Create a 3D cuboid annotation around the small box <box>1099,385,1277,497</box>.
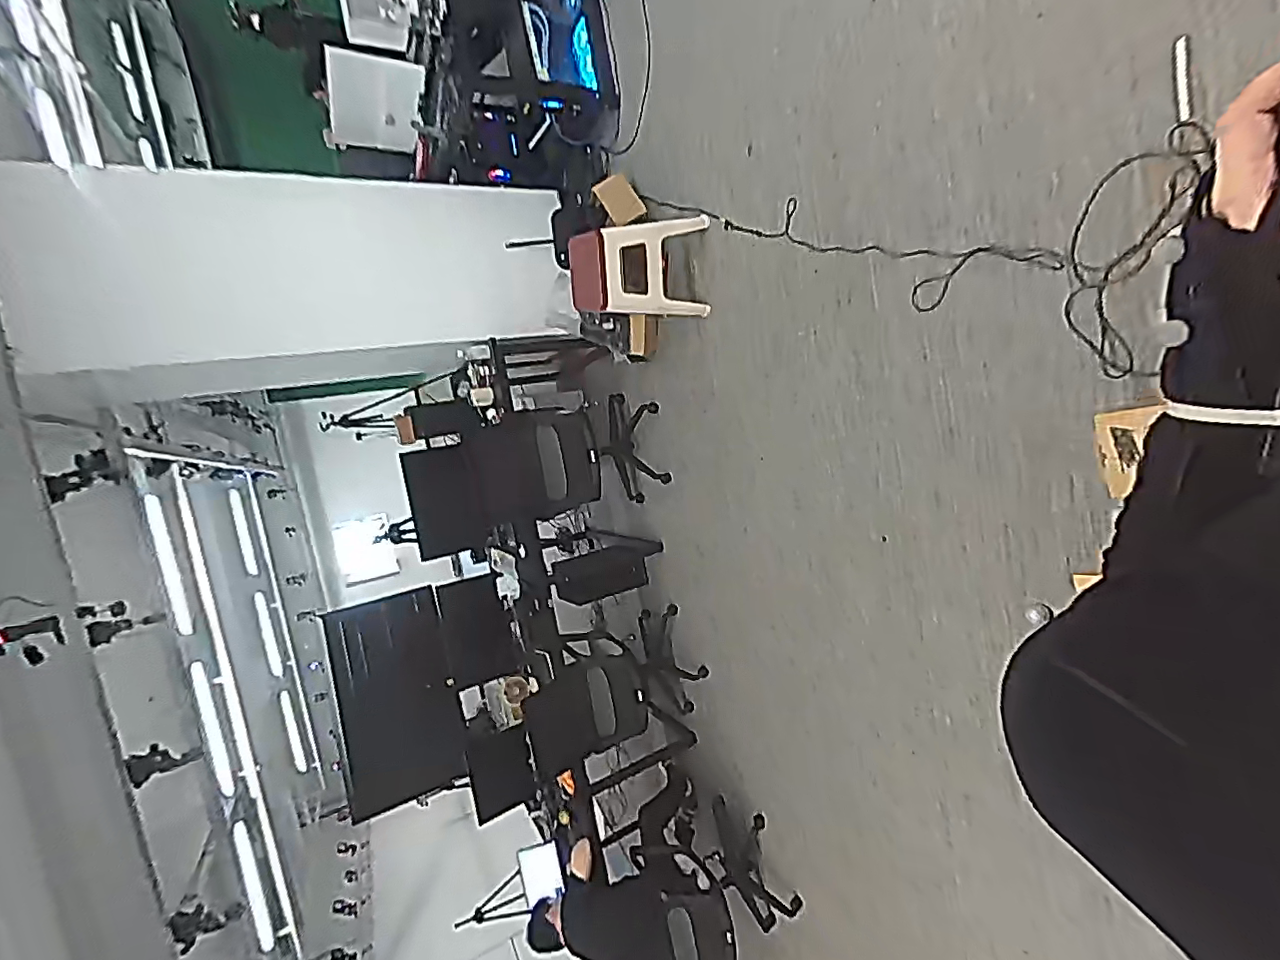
[{"bbox_3d":[0.996,-0.067,0.987,0.179,0.176,0.168,-10,94,63],"label":"small box"}]
